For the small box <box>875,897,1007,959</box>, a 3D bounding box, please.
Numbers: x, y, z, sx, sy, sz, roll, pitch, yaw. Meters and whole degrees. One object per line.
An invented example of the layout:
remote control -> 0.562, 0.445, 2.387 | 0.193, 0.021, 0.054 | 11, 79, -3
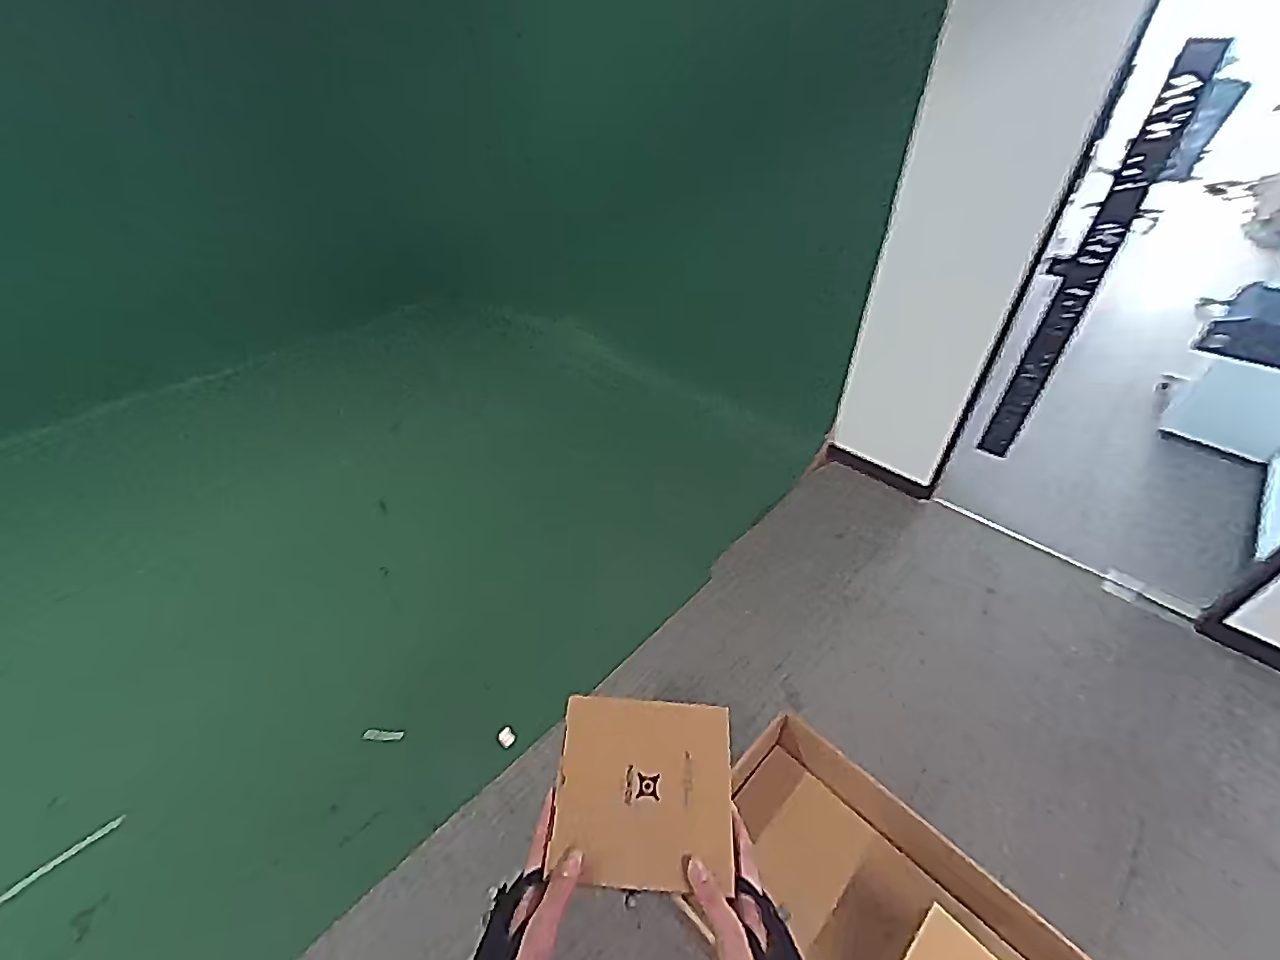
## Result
small box -> 0.459, 0.793, 0.823 | 0.179, 0.176, 0.168 | -34, 52, -29

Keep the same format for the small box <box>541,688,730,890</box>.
small box -> -0.002, 0.345, 0.598 | 0.179, 0.176, 0.168 | 5, 53, 0
